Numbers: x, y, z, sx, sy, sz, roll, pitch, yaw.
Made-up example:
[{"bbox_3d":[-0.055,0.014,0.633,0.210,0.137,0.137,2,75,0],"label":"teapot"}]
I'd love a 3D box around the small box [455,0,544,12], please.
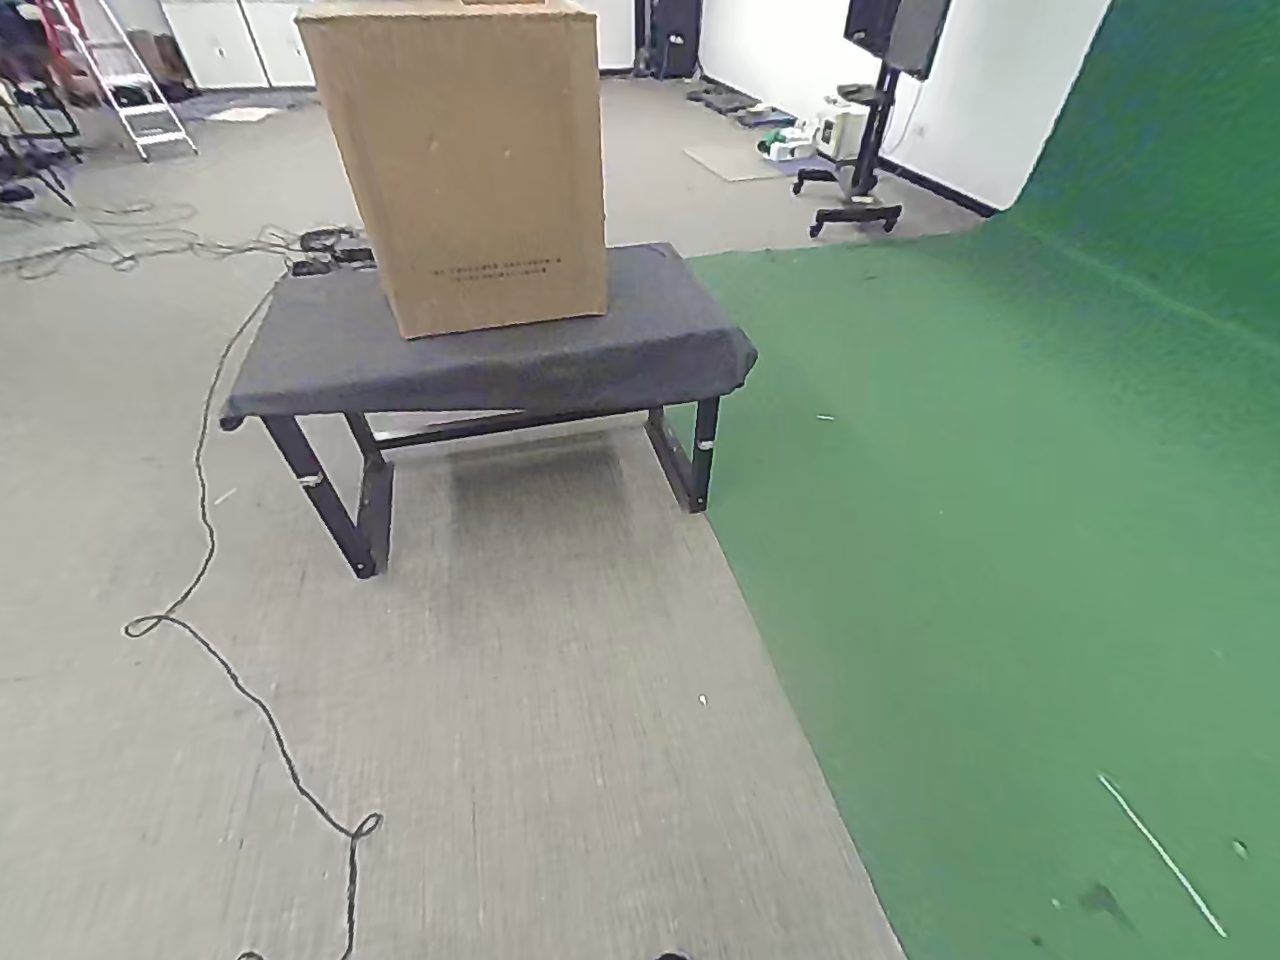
[{"bbox_3d":[-0.291,-1.035,1.057,0.168,0.176,0.179,-14,49,-14],"label":"small box"}]
